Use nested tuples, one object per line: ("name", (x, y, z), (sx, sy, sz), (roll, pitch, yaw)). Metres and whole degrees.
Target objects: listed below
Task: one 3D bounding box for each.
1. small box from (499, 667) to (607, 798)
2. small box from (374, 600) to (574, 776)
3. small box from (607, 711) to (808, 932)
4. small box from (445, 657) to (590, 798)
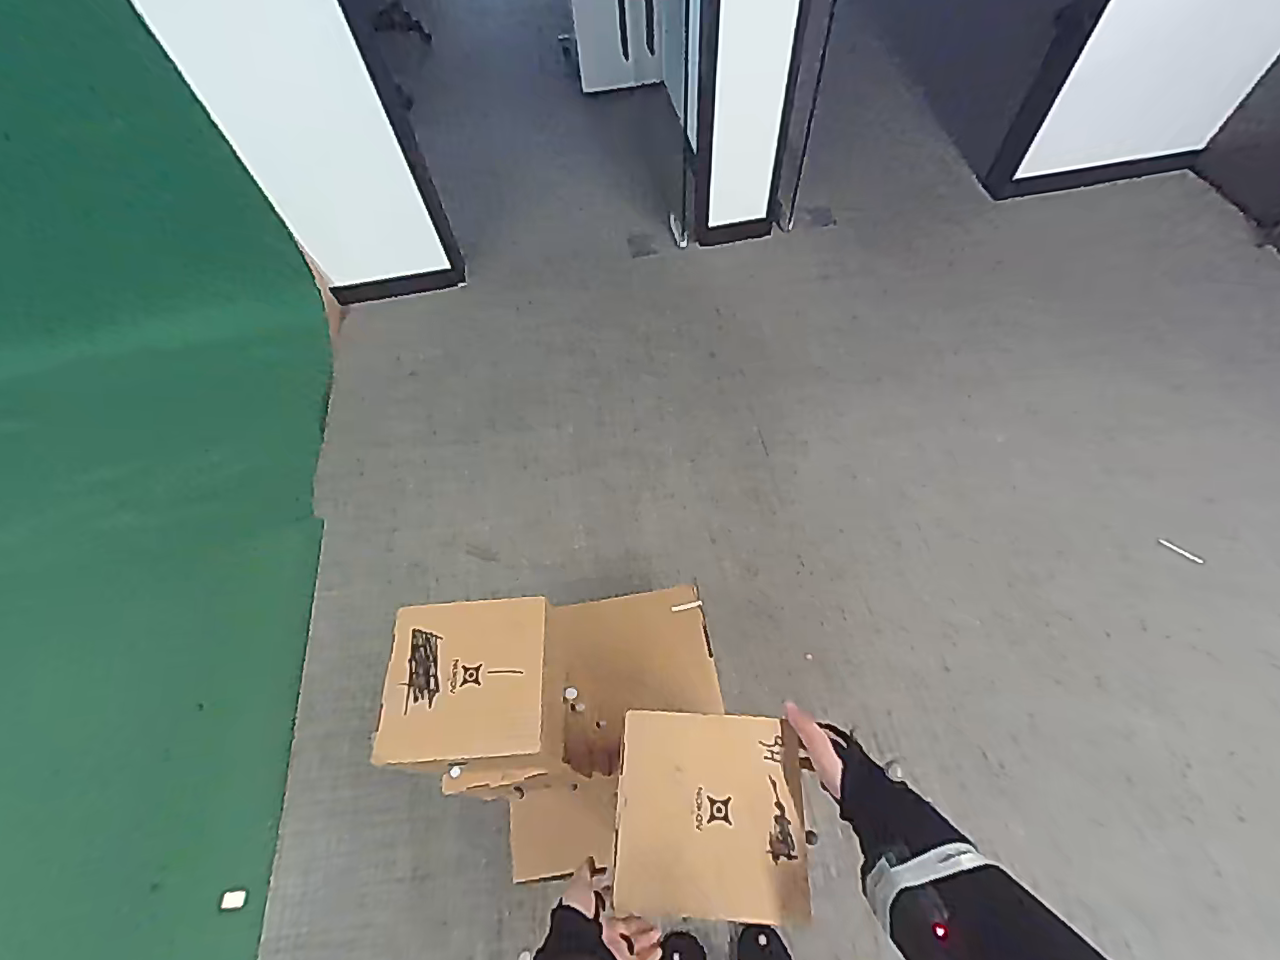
("small box", (-0.155, 0.435, 0.927), (0.179, 0.176, 0.168), (-11, 57, -2))
("small box", (-0.182, 0.256, 0.653), (0.179, 0.176, 0.168), (-5, 59, 2))
("small box", (0.070, 0.352, 0.574), (0.179, 0.176, 0.168), (1, 59, 6))
("small box", (-0.170, 0.351, 0.788), (0.168, 0.176, 0.179), (-9, 59, -1))
